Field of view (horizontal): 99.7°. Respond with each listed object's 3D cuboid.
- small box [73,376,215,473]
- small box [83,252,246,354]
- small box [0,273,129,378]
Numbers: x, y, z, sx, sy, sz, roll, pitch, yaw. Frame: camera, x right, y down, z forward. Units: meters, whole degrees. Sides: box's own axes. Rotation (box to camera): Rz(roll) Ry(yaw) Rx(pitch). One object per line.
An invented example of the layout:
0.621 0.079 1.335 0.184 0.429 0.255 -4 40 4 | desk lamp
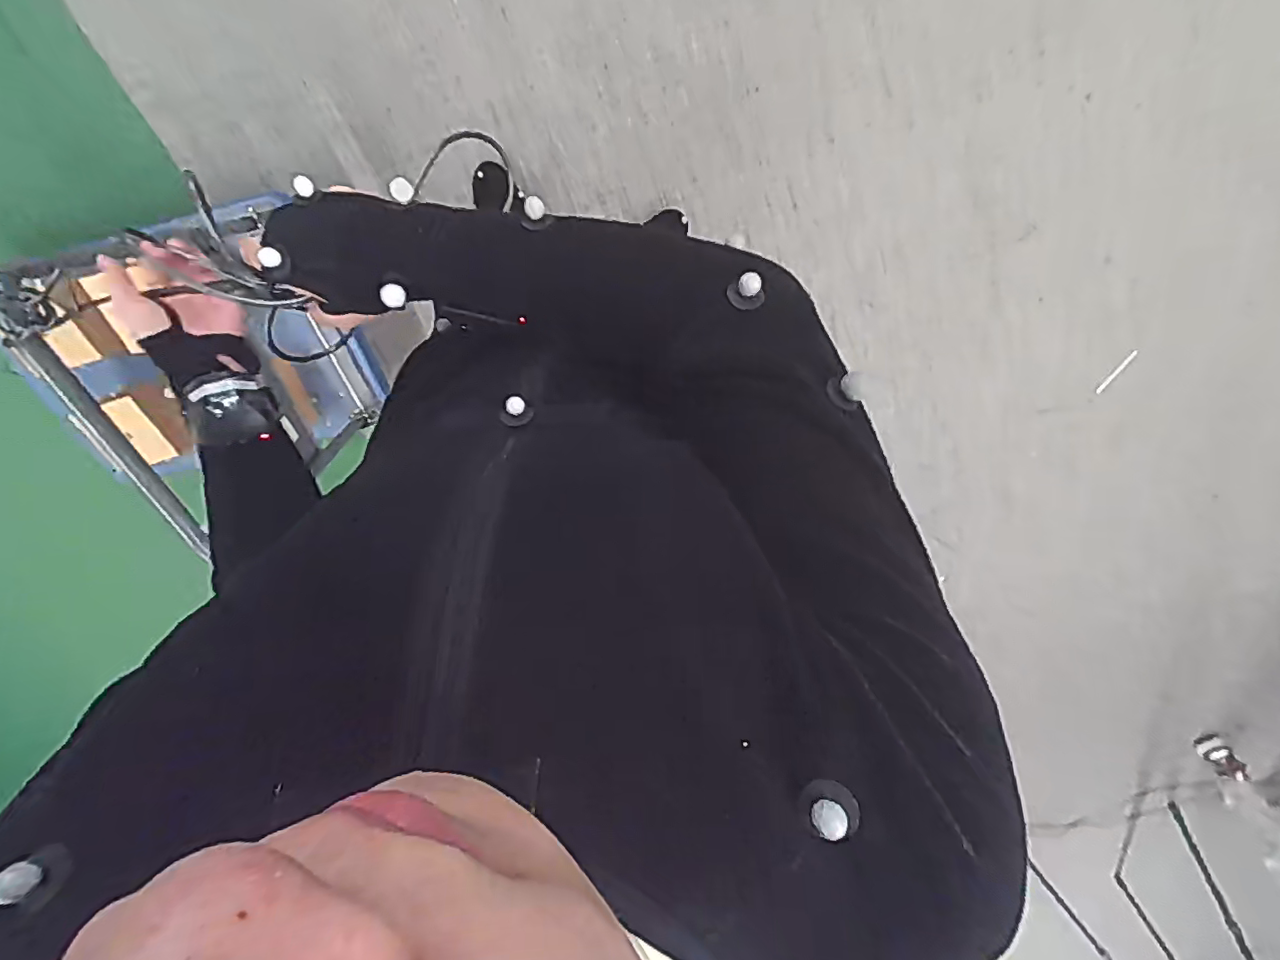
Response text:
-1.231 -0.145 1.367 0.179 0.176 0.168 -14 120 8 | small box
-1.048 -0.399 1.211 0.179 0.176 0.168 -10 122 5 | small box
-1.290 -0.356 1.235 0.179 0.176 0.168 -13 122 7 | small box
